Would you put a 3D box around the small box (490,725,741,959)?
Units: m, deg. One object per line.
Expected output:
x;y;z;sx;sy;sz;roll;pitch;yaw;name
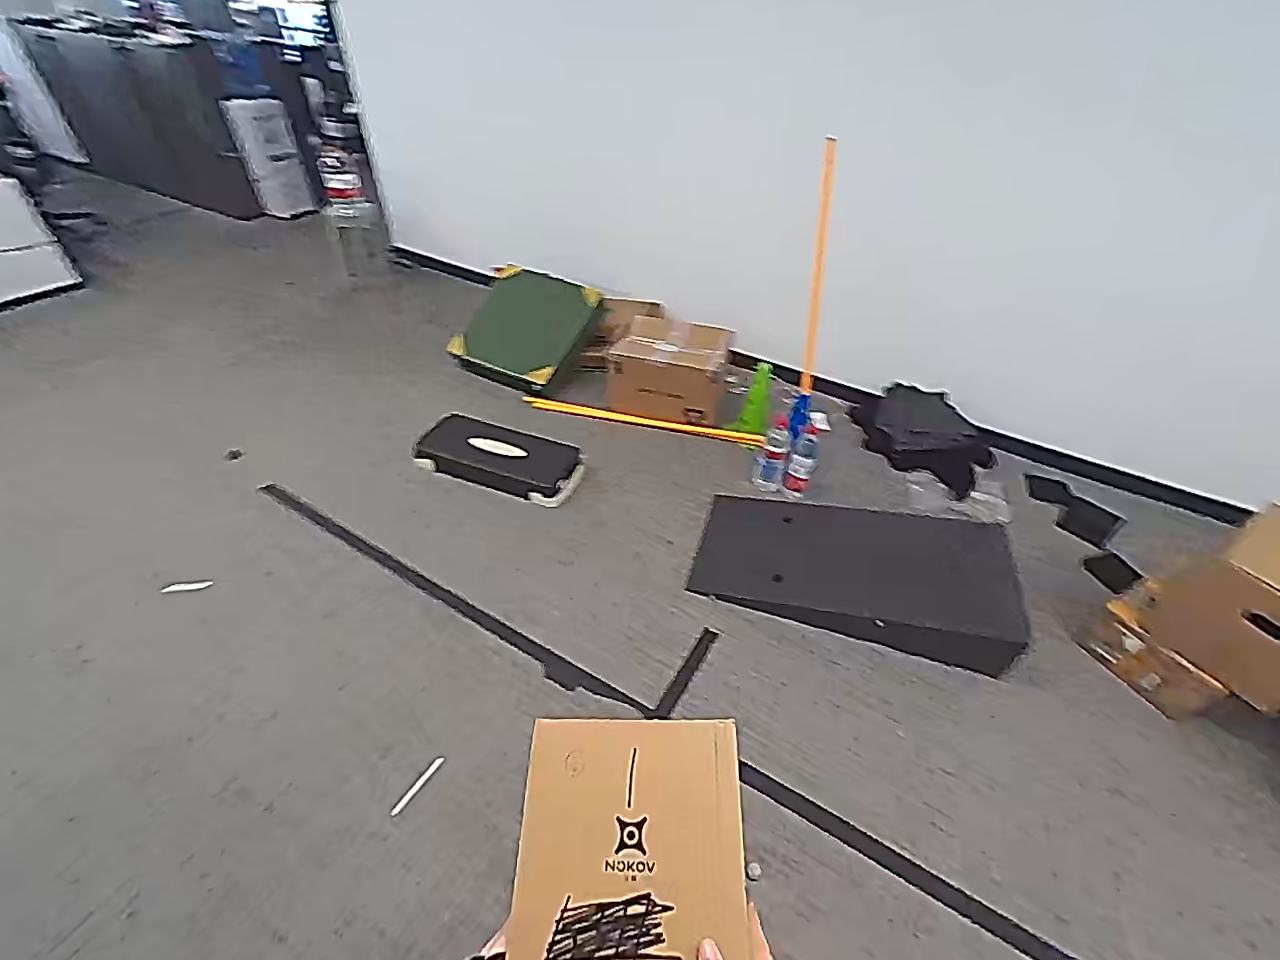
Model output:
-0.006;0.306;0.440;0.168;0.176;0.179;-3;56;6;small box
